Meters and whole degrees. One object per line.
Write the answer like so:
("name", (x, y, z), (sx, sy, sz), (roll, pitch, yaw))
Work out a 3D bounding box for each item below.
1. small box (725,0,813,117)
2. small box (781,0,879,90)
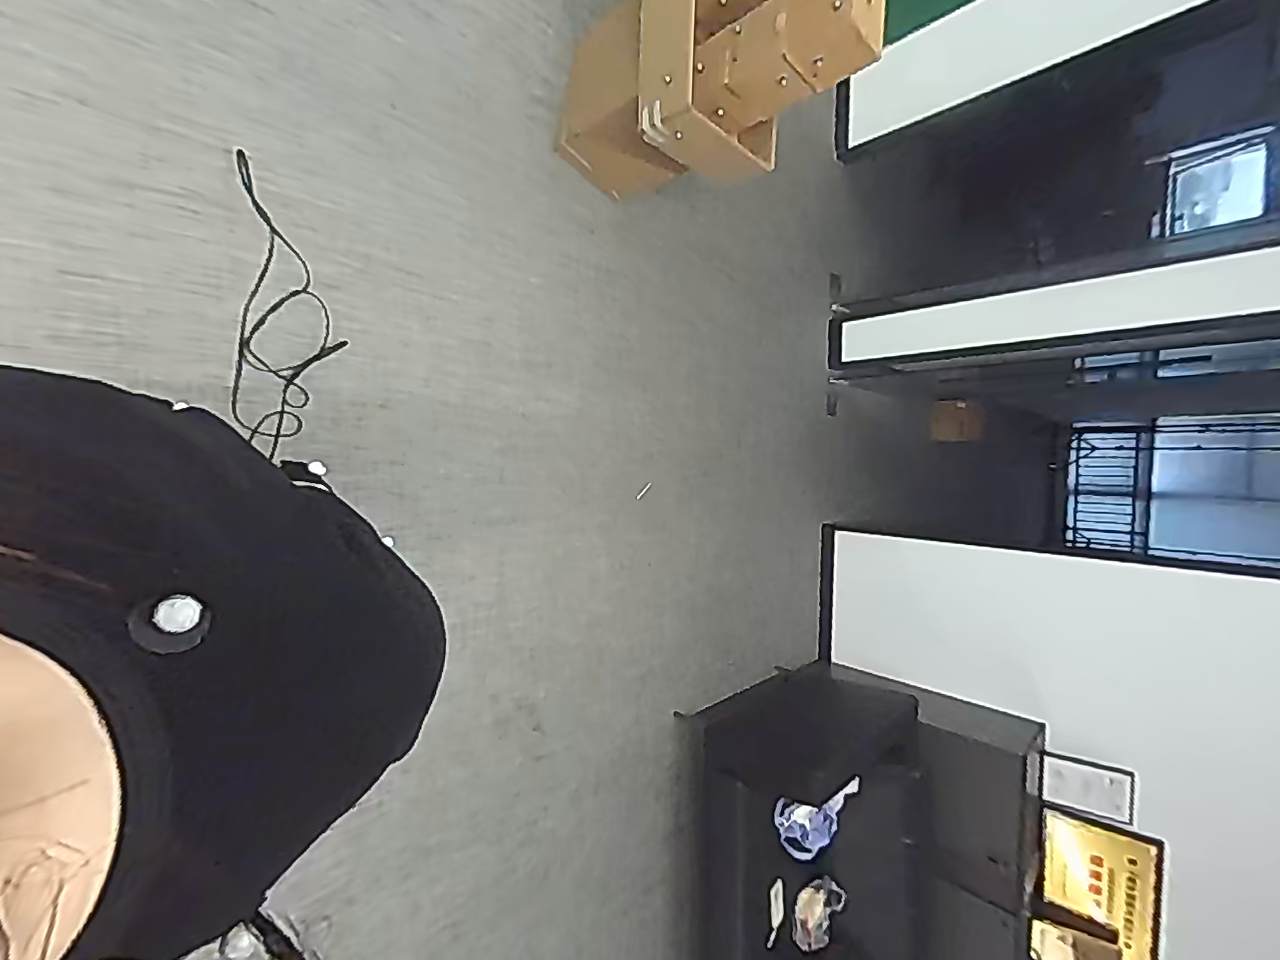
("small box", (0.338, -1.098, 1.412), (0.179, 0.176, 0.168), (5, 89, -45))
("small box", (0.453, -1.096, 1.297), (0.168, 0.176, 0.179), (3, 91, -45))
